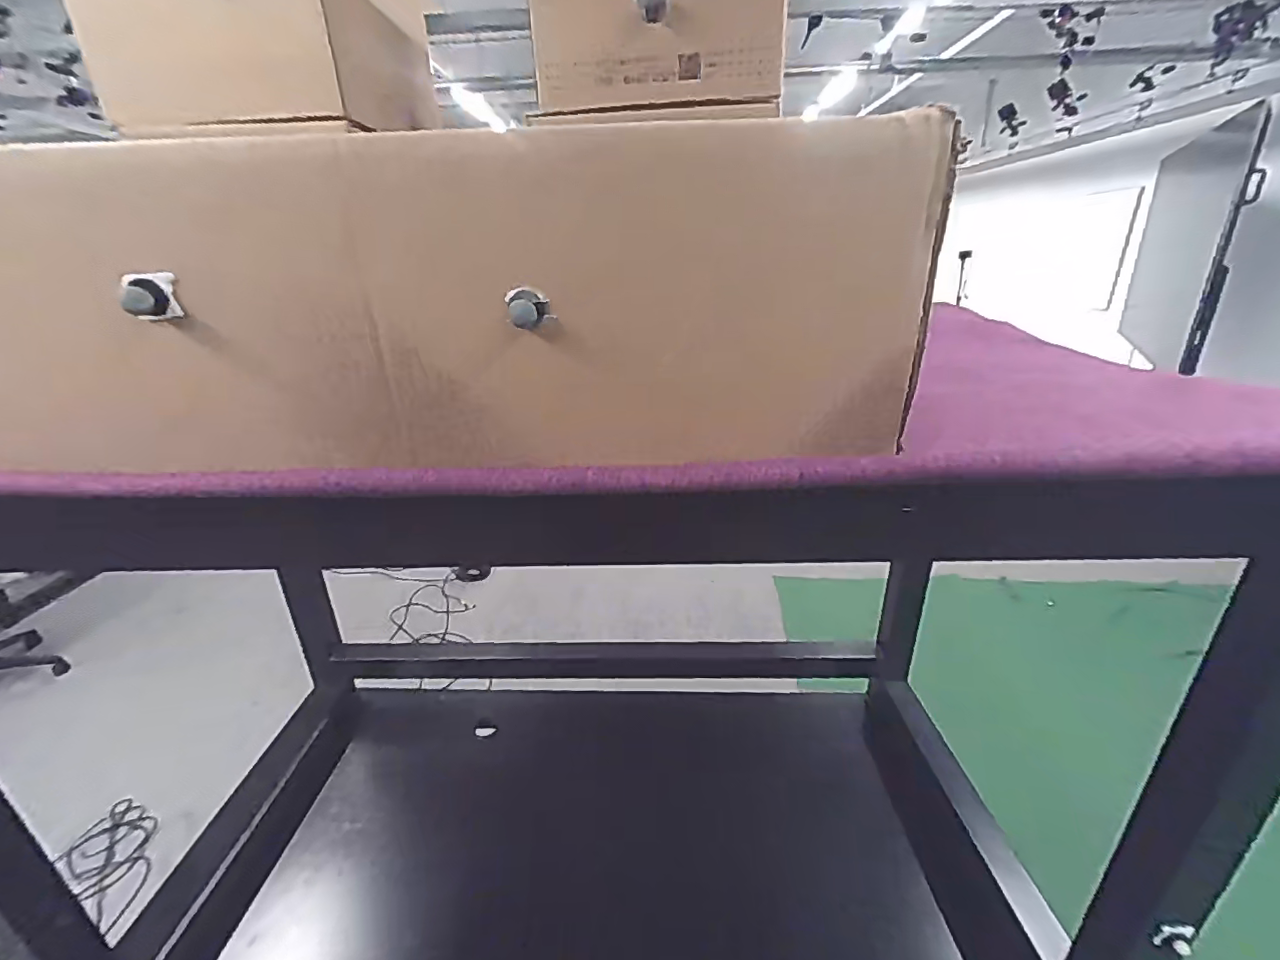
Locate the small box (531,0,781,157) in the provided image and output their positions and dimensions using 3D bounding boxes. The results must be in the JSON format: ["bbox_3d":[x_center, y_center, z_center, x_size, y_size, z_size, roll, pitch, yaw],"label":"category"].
[{"bbox_3d":[0.013,-0.358,0.411,0.168,0.176,0.179,-1,23,5],"label":"small box"}]
